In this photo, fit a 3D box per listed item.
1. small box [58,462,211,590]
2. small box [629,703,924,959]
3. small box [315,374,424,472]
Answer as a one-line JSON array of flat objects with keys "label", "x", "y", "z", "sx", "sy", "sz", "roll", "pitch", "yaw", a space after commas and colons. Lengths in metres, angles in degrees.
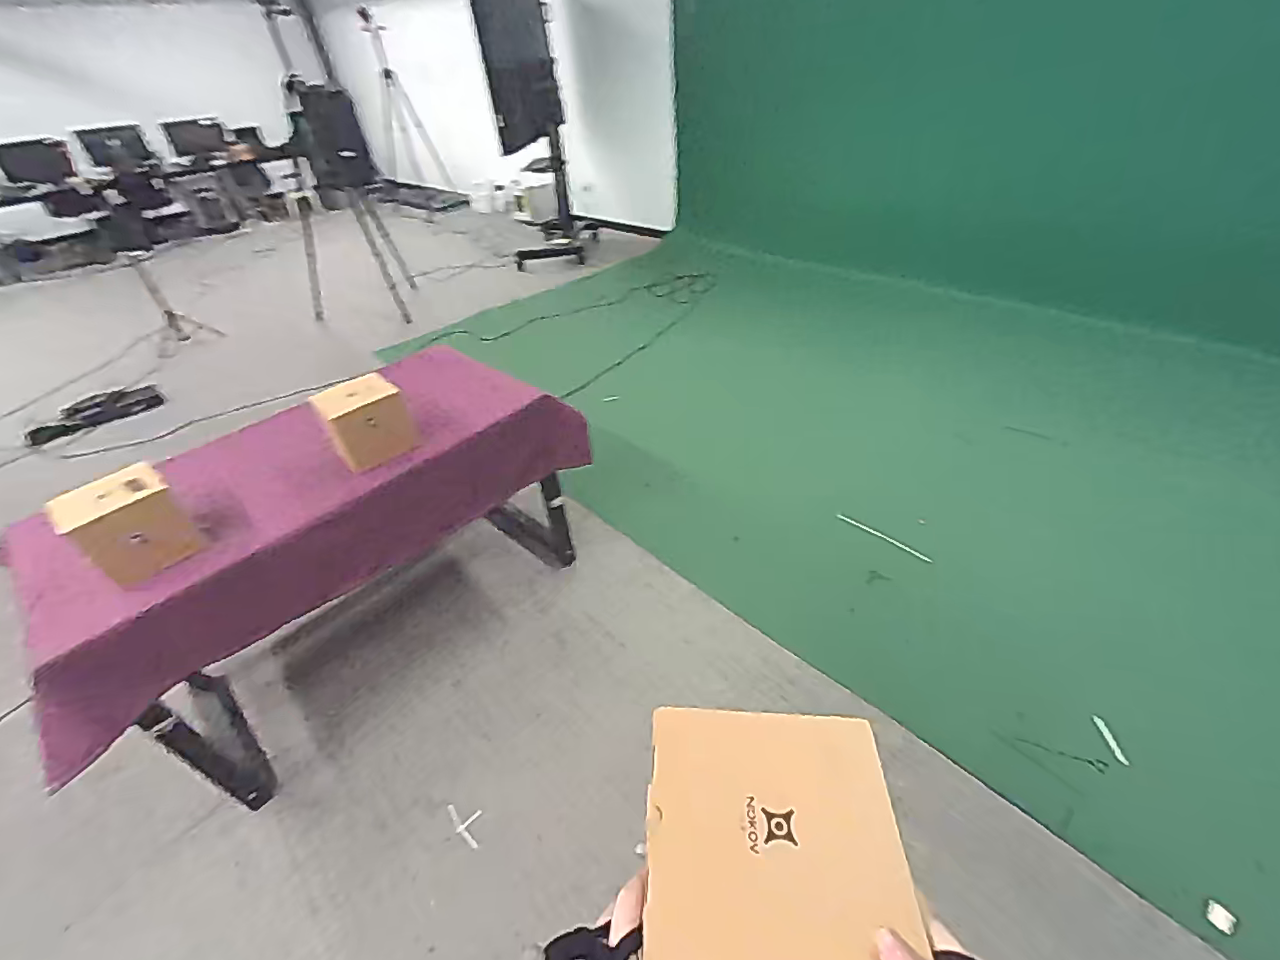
[{"label": "small box", "x": -1.062, "y": 0.096, "z": 1.152, "sx": 0.168, "sy": 0.176, "sz": 0.179, "roll": 25, "pitch": 49, "yaw": 34}, {"label": "small box", "x": 0.087, "y": 0.300, "z": 0.425, "sx": 0.179, "sy": 0.176, "sz": 0.168, "roll": 1, "pitch": 38, "yaw": 4}, {"label": "small box", "x": -0.699, "y": -0.148, "z": 1.407, "sx": 0.179, "sy": 0.176, "sz": 0.168, "roll": -33, "pitch": 46, "yaw": -29}]
